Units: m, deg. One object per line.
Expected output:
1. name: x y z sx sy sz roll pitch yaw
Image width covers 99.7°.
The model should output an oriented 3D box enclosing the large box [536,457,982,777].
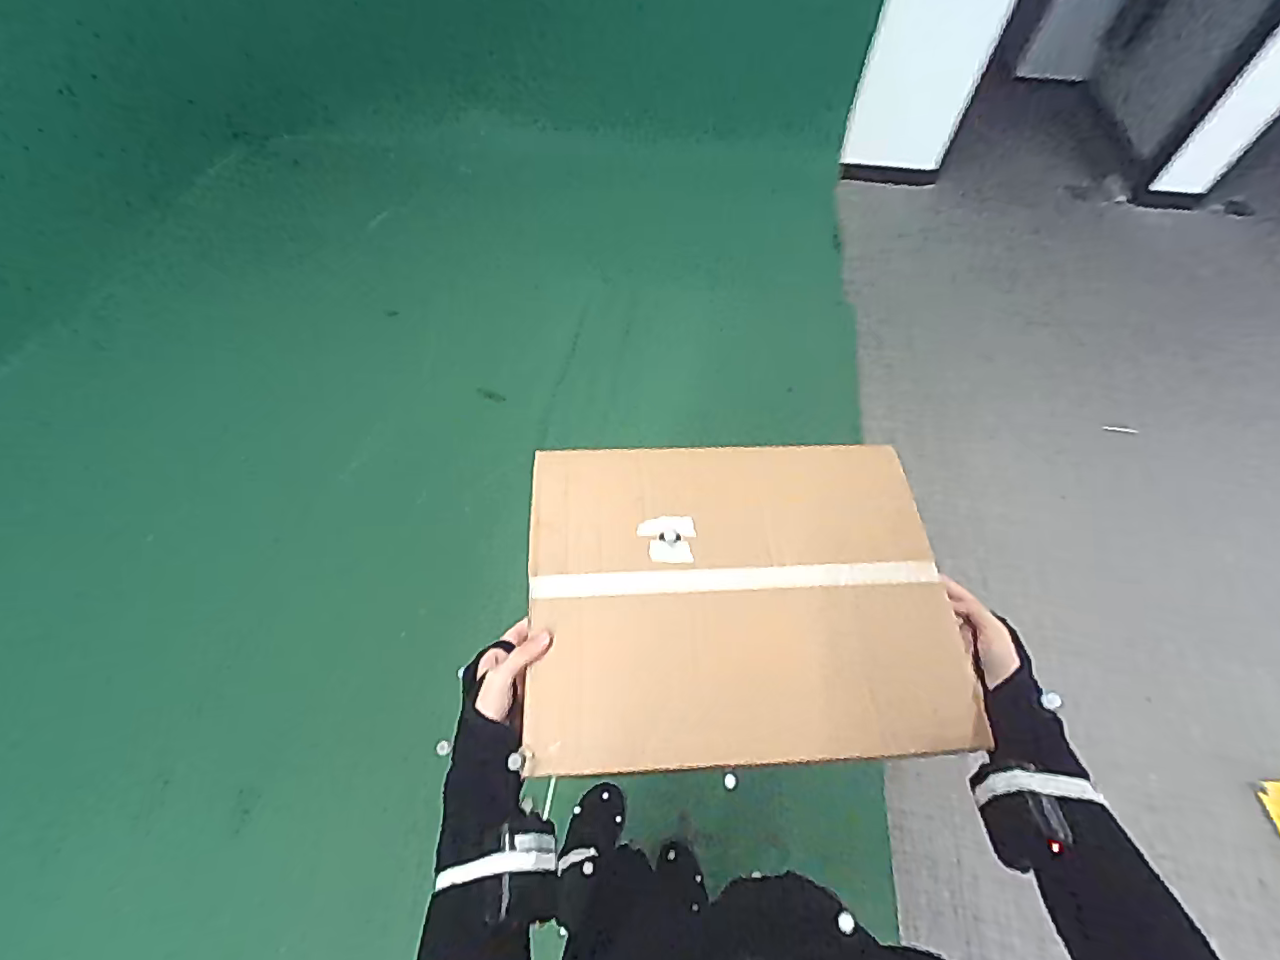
1. large box: 0.099 0.185 0.672 0.408 0.320 0.320 -1 60 -2
